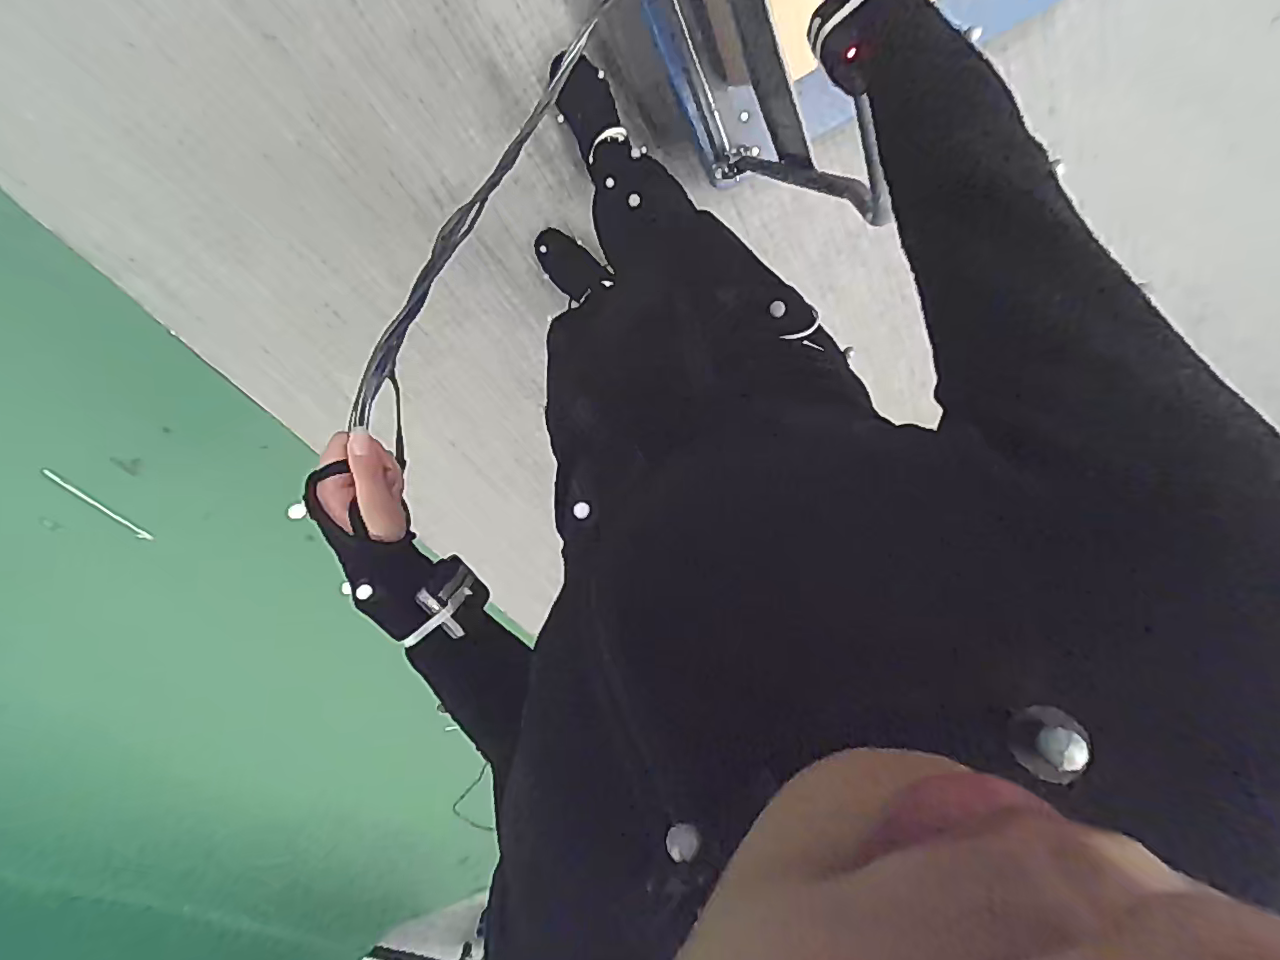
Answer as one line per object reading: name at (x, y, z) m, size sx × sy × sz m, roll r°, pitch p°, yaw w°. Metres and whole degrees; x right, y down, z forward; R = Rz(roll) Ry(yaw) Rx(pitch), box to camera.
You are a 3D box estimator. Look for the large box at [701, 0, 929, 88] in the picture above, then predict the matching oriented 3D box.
large box at (0.301, -0.886, 0.845) m, size 0.408 × 0.320 × 0.320 m, roll -25°, pitch 126°, yaw 9°
